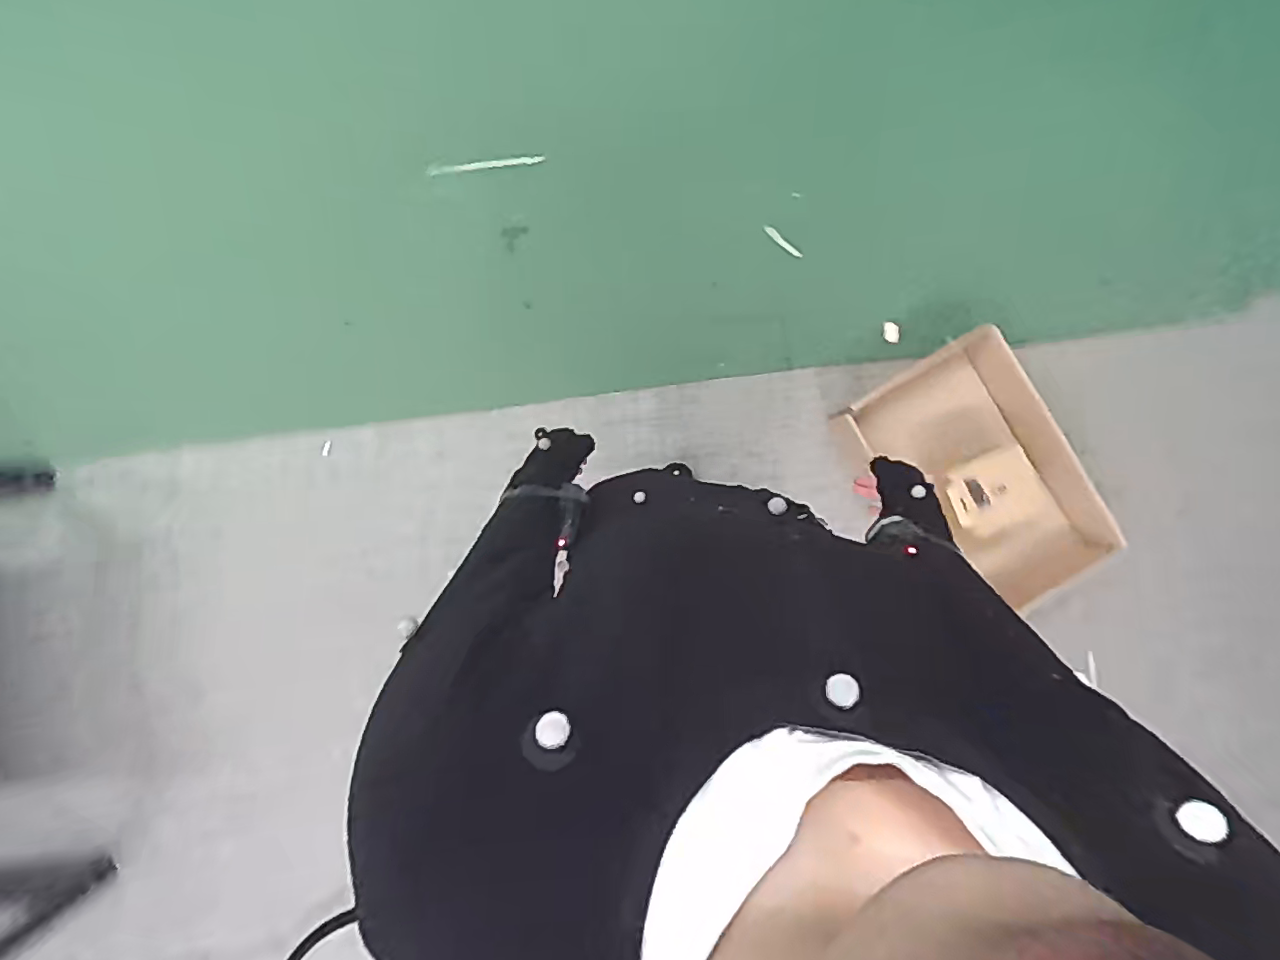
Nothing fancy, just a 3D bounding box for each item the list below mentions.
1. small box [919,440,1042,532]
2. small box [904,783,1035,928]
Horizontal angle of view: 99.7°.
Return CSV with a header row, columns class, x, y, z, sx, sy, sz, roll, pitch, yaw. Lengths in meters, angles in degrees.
class,x,y,z,sx,sy,sz,roll,pitch,yaw
small box,0.809,0.016,1.311,0.179,0.176,0.168,-22,90,1
small box,0.643,0.732,1.072,0.168,0.176,0.179,1,91,3
